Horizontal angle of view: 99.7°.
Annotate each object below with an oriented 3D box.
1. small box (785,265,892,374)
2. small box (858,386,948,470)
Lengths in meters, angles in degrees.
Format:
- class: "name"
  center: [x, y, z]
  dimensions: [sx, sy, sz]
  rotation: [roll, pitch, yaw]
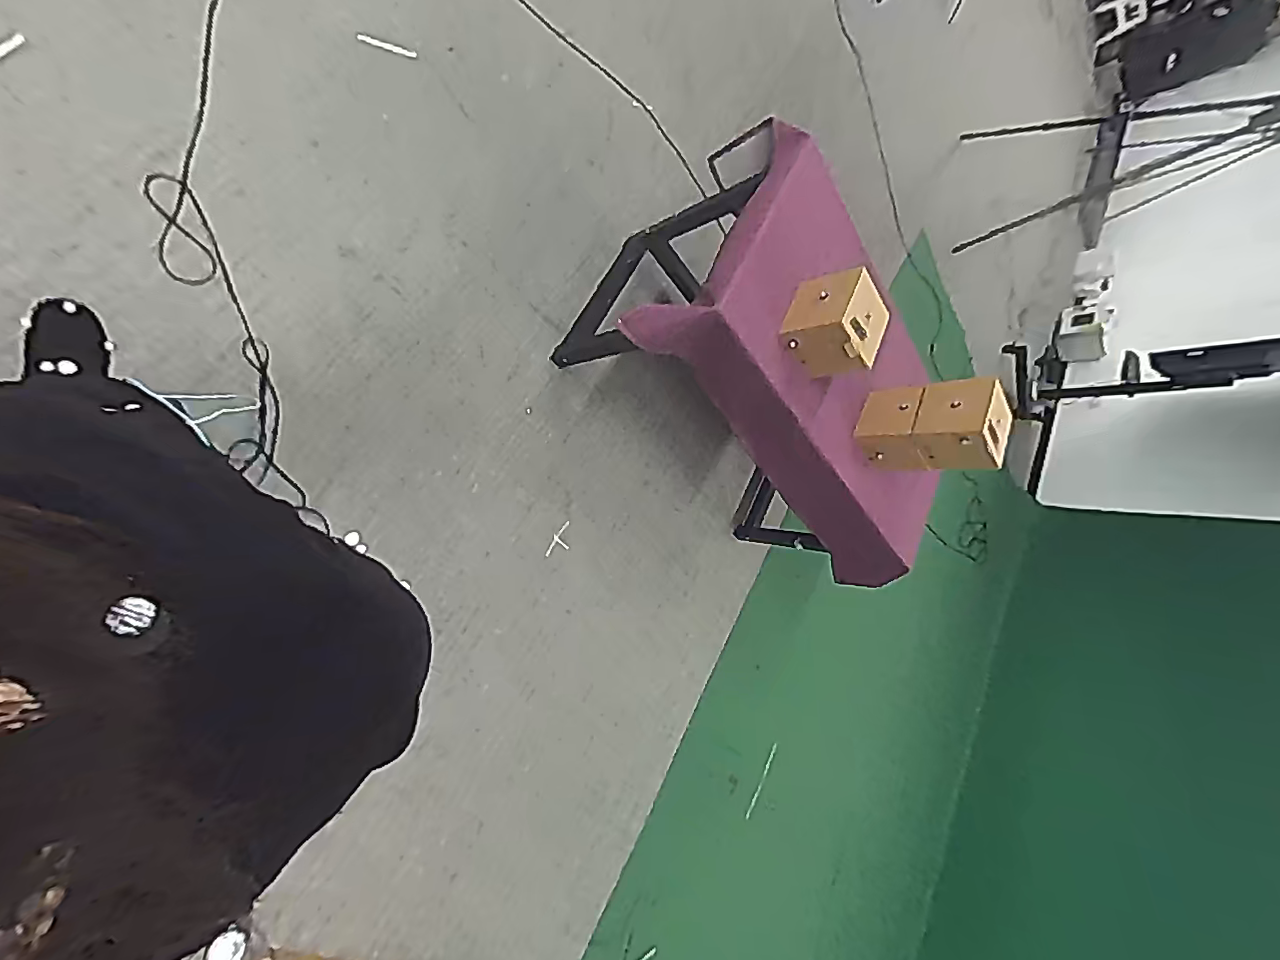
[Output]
- class: "small box"
  center: [0.472, -0.374, 1.298]
  dimensions: [0.168, 0.176, 0.179]
  rotation: [41, 66, -34]
- class: "small box"
  center: [0.748, -0.146, 1.543]
  dimensions: [0.168, 0.176, 0.179]
  rotation: [44, 65, -32]
